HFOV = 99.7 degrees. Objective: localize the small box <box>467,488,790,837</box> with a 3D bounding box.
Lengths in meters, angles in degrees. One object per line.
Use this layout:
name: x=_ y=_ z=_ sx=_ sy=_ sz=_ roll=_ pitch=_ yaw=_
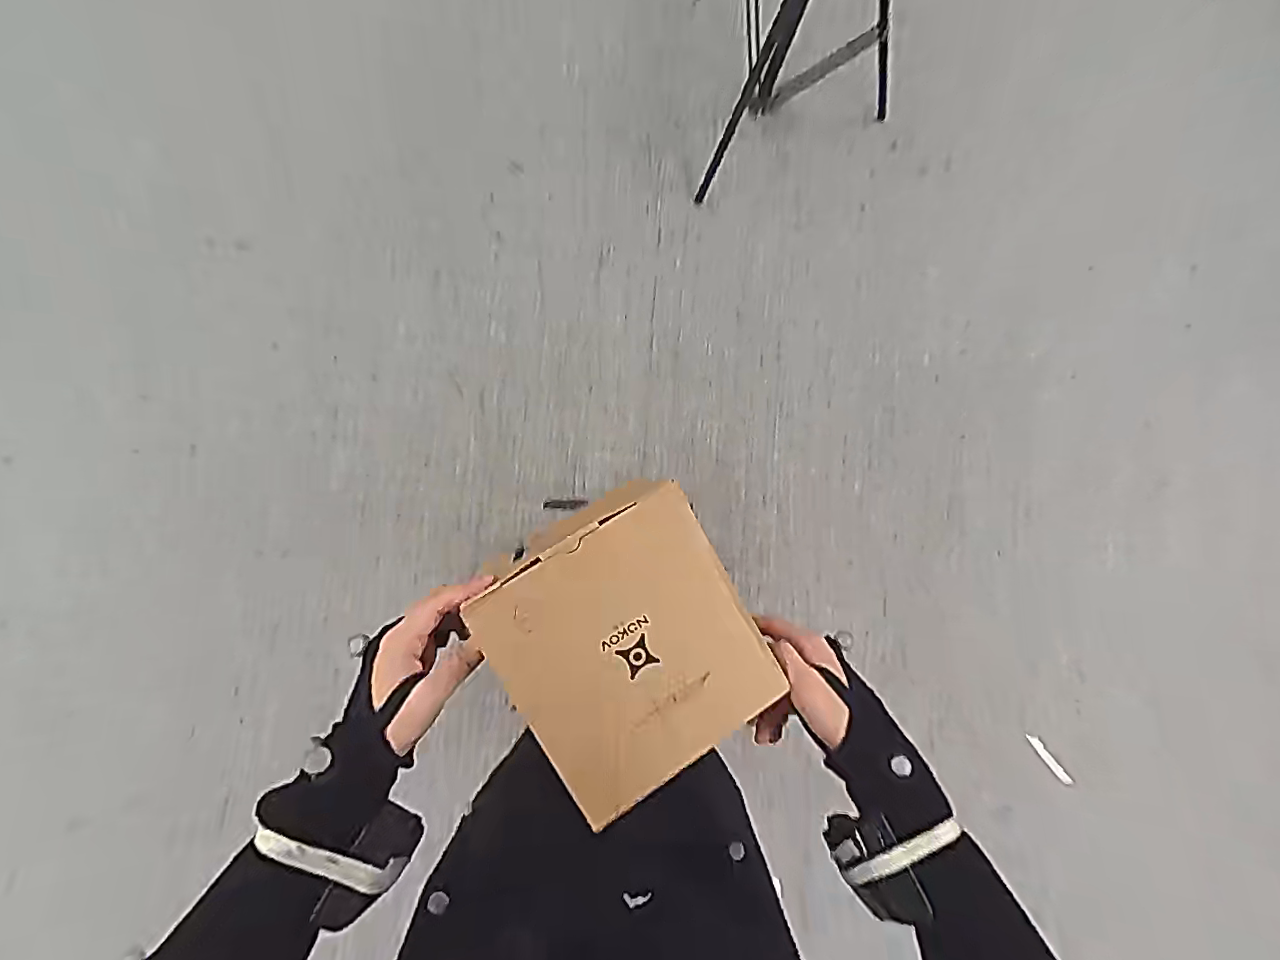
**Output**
small box: x=-0.020 y=0.125 z=0.440 sx=0.168 sy=0.176 sz=0.179 roll=-32 pitch=94 yaw=-13
